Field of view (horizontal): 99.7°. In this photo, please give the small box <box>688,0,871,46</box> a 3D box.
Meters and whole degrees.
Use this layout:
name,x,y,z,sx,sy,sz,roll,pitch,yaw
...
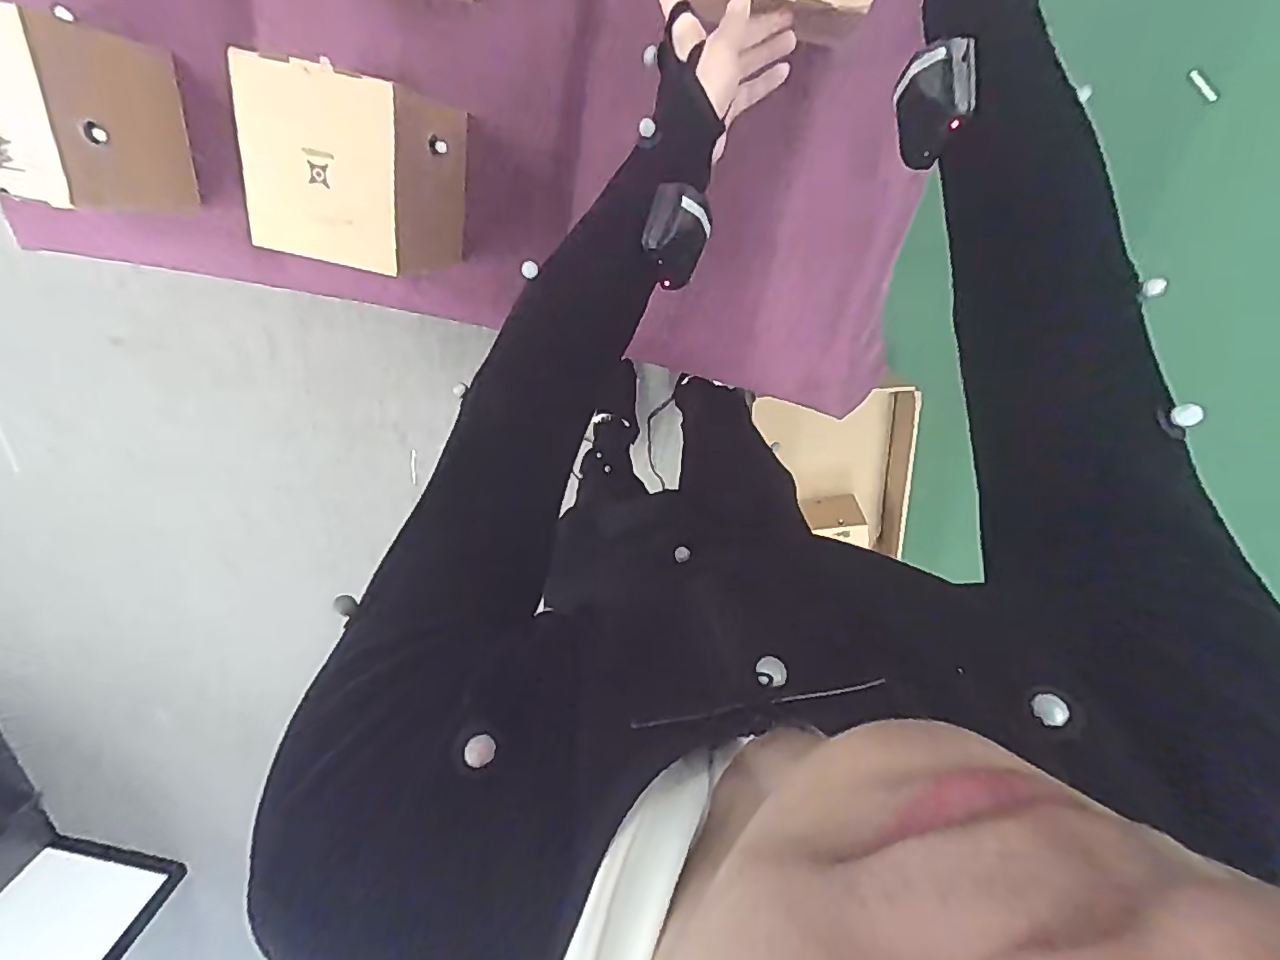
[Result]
name,x,y,z,sx,sy,sz,roll,pitch,yaw
small box,0.128,-0.499,0.451,0.168,0.176,0.179,14,122,2

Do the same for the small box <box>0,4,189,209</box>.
name,x,y,z,sx,sy,sz,roll,pitch,yaw
small box,-0.667,-0.418,0.615,0.168,0.176,0.179,11,117,2

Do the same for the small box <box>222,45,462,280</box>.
name,x,y,z,sx,sy,sz,roll,pitch,yaw
small box,-0.313,-0.341,0.605,0.168,0.176,0.179,14,118,2
